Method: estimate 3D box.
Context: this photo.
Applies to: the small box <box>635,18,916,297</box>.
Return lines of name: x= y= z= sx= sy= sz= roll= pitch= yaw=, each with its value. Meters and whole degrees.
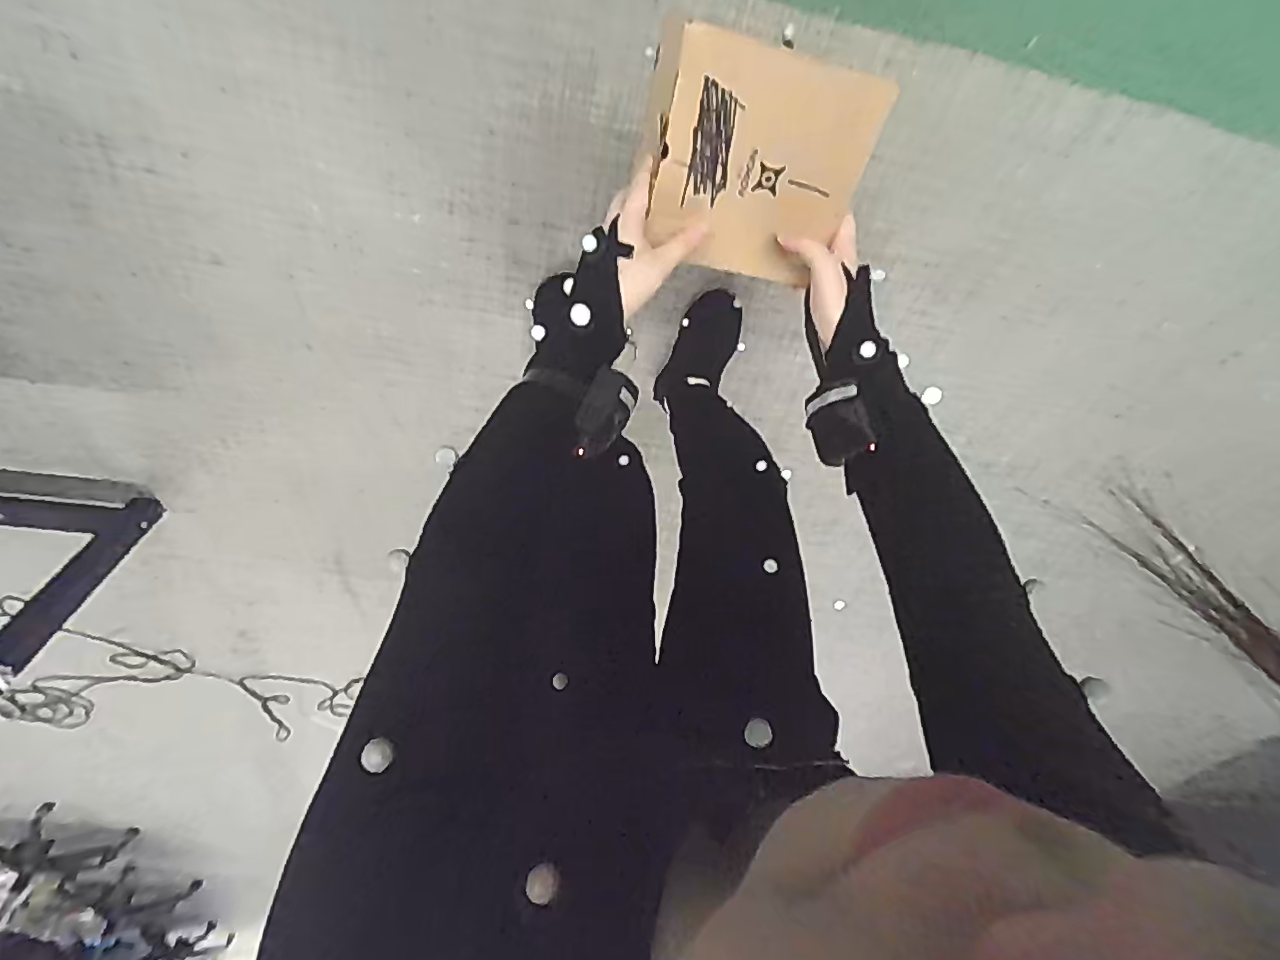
small box: x=0.097 y=-0.292 z=0.490 sx=0.179 sy=0.176 sz=0.168 roll=7 pitch=132 yaw=-11
